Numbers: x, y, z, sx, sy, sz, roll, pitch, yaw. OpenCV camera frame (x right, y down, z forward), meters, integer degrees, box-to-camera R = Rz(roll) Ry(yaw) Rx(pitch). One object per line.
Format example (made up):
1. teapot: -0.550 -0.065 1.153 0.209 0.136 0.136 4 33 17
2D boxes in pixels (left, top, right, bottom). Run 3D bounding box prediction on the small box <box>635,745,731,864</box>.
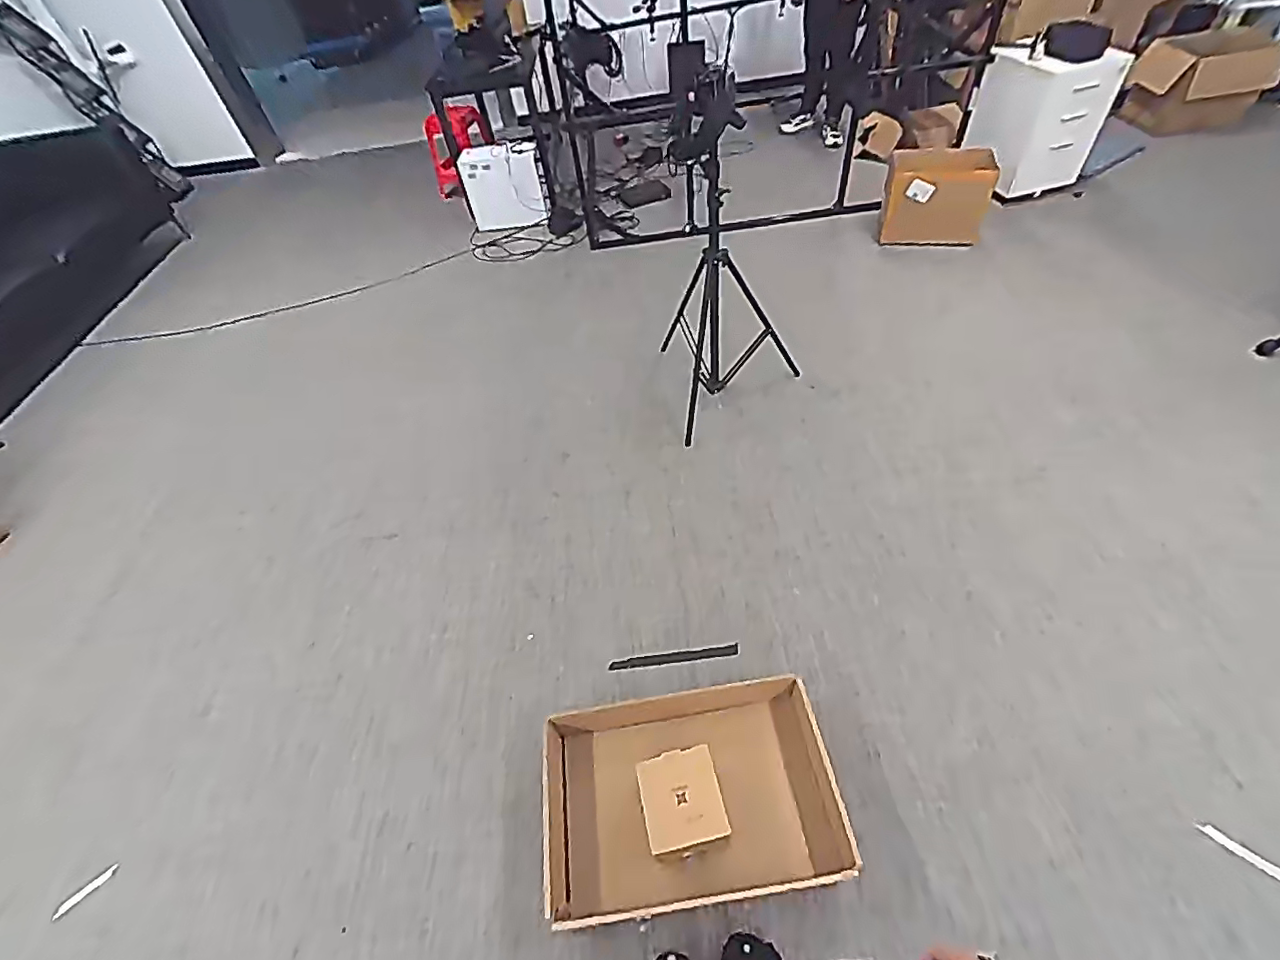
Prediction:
1. small box: 0.093 0.710 1.181 0.168 0.176 0.179 -14 50 -3
